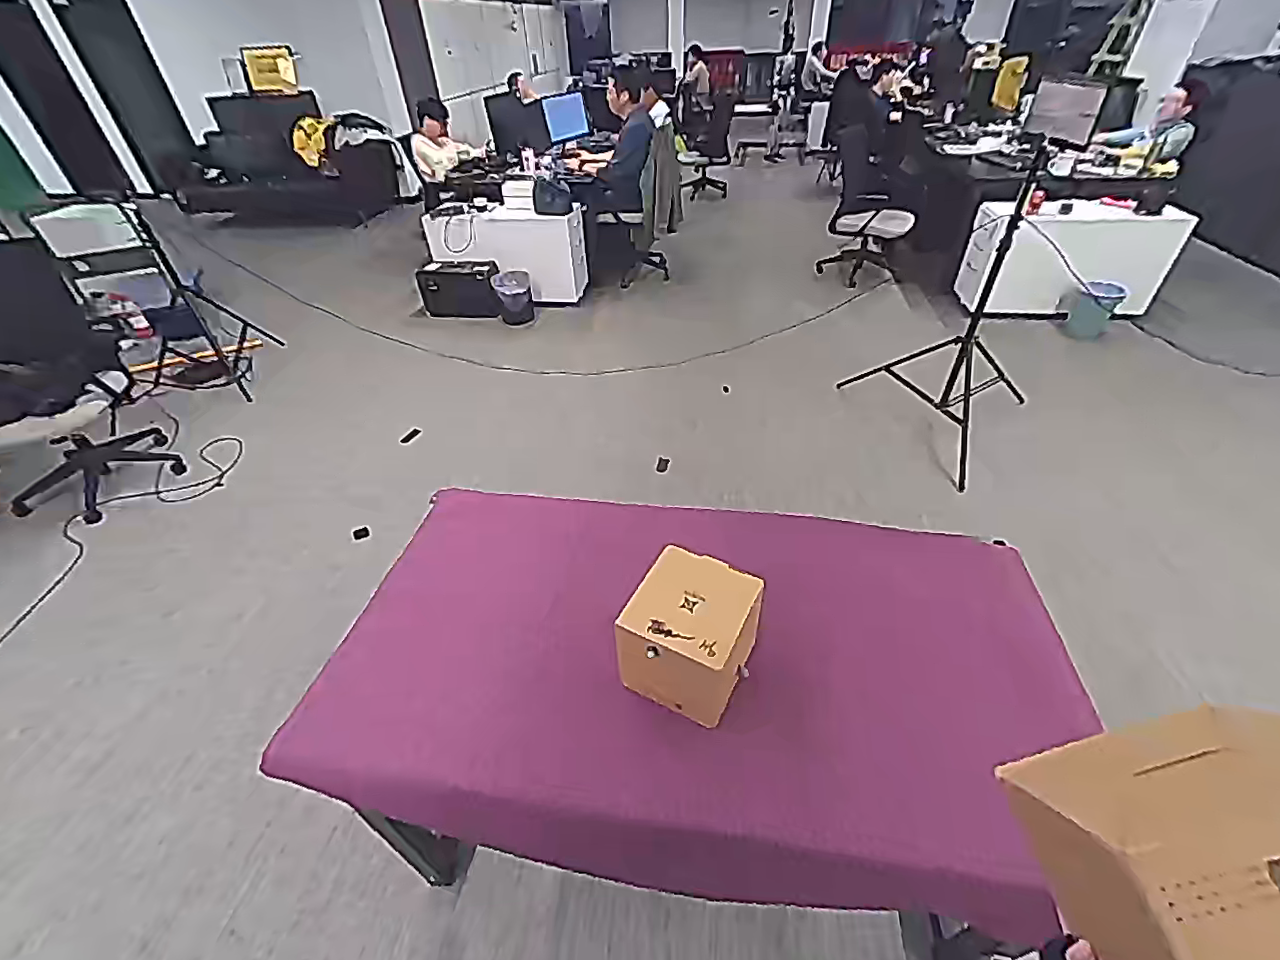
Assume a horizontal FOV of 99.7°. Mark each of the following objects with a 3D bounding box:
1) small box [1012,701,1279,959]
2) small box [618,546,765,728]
[{"bbox_3d":[0.356,0.239,0.302,0.168,0.179,0.176,-21,71,8],"label":"small box"},{"bbox_3d":[0.079,0.240,0.838,0.168,0.176,0.179,18,43,24],"label":"small box"}]
